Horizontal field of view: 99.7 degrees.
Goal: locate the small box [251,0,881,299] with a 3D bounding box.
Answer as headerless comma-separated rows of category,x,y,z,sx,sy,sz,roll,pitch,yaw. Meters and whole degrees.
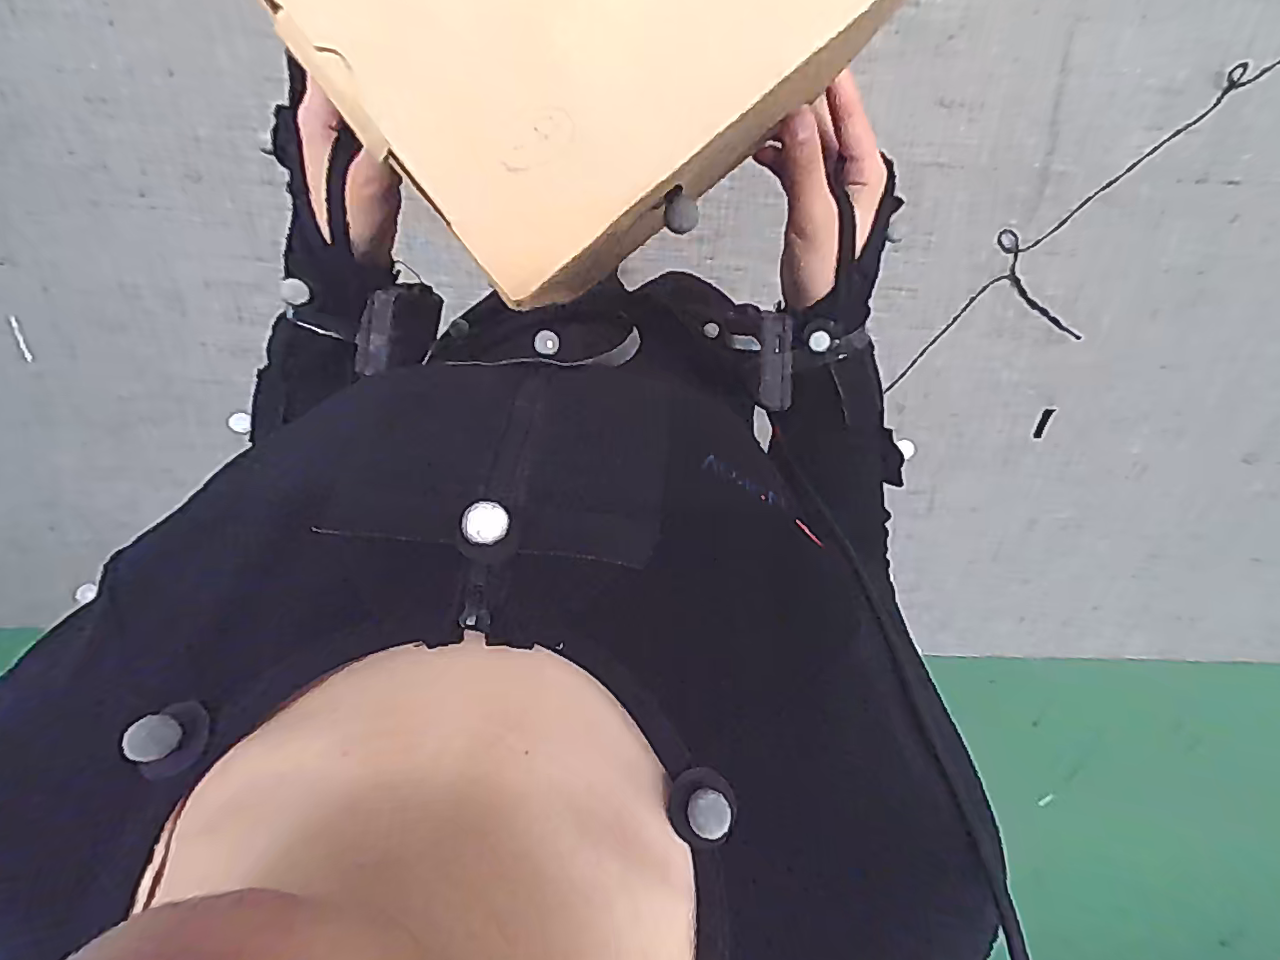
small box,-0.025,-0.194,0.222,0.179,0.176,0.168,-35,105,12
